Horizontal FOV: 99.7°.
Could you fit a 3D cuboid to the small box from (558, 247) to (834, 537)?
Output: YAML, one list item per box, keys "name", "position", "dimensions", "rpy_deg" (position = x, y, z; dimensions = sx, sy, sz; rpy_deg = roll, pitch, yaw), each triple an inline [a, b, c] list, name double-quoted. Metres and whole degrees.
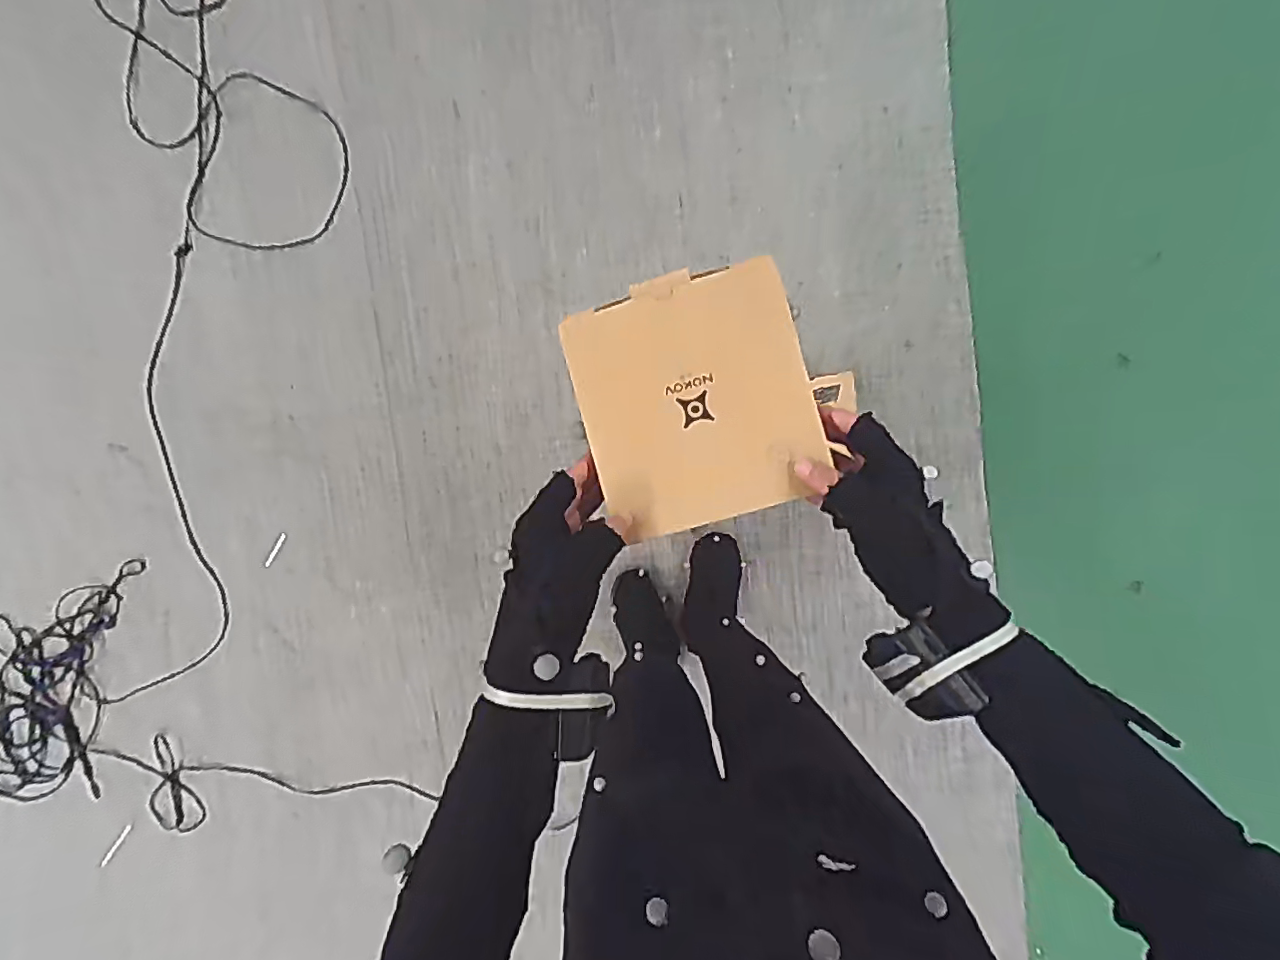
- name: "small box"
  position: [0.048, -0.064, 0.469]
  dimensions: [0.168, 0.176, 0.179]
  rpy_deg: [-16, 90, 6]

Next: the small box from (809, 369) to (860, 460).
- name: "small box"
  position: [0.347, -0.127, 1.143]
  dimensions: [0.168, 0.176, 0.179]
  rpy_deg: [-7, 94, 3]
